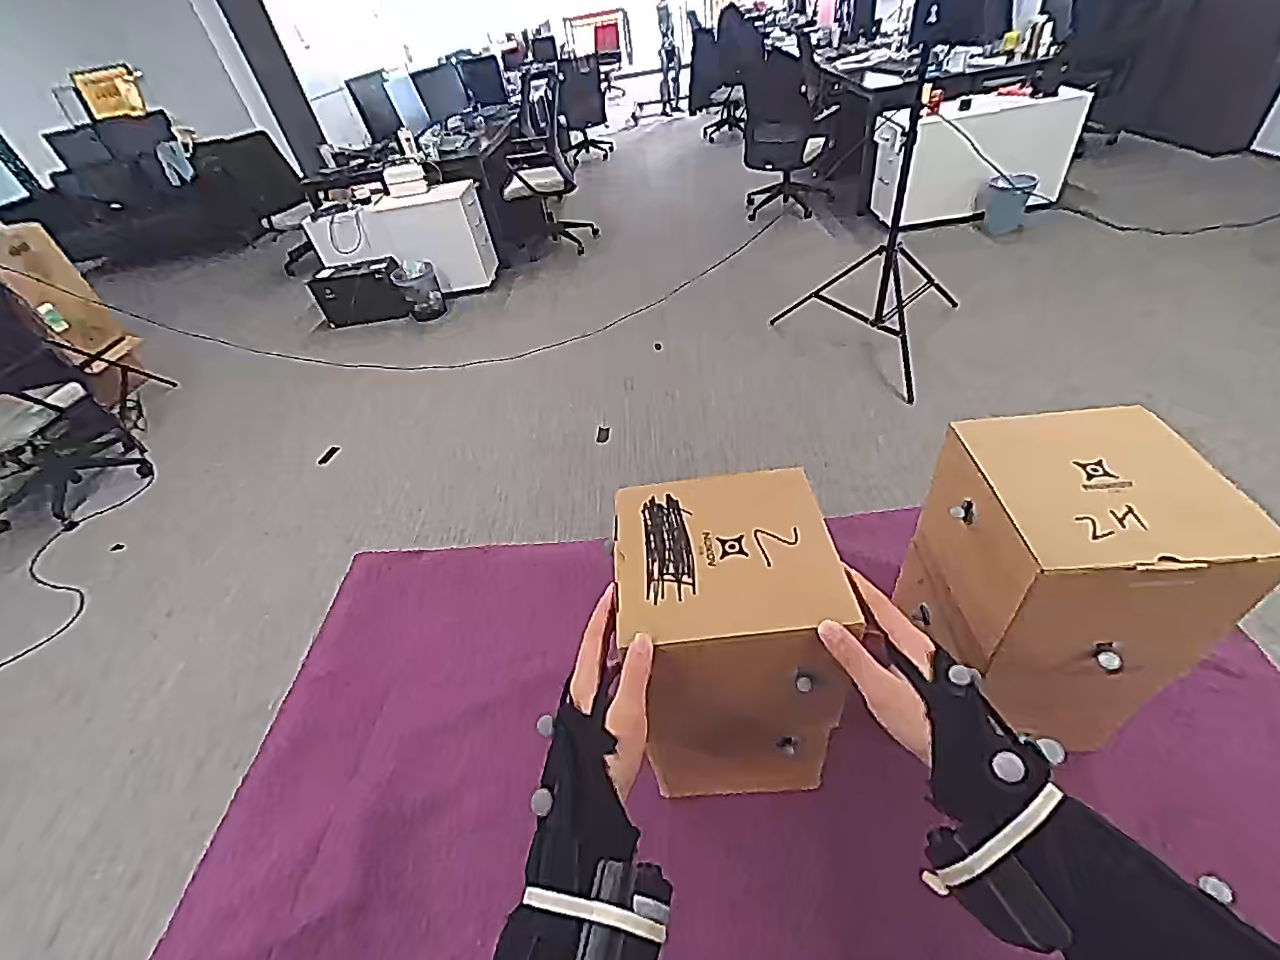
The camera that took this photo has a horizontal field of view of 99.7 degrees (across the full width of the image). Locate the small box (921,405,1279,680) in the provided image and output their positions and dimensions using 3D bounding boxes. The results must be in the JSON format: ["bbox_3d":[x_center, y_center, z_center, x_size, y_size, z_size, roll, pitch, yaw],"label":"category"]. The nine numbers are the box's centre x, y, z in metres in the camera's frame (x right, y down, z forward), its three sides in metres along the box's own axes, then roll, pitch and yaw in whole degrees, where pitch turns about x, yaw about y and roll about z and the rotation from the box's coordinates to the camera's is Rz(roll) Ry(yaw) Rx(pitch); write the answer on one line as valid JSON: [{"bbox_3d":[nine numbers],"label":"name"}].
[{"bbox_3d":[0.374,0.056,0.482,0.168,0.176,0.179,-5,43,8],"label":"small box"}]

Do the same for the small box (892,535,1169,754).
[{"bbox_3d":[0.394,0.176,0.593,0.168,0.176,0.179,-4,43,8],"label":"small box"}]

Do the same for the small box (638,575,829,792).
[{"bbox_3d":[0.096,0.229,0.601,0.179,0.176,0.168,-6,42,4],"label":"small box"}]
